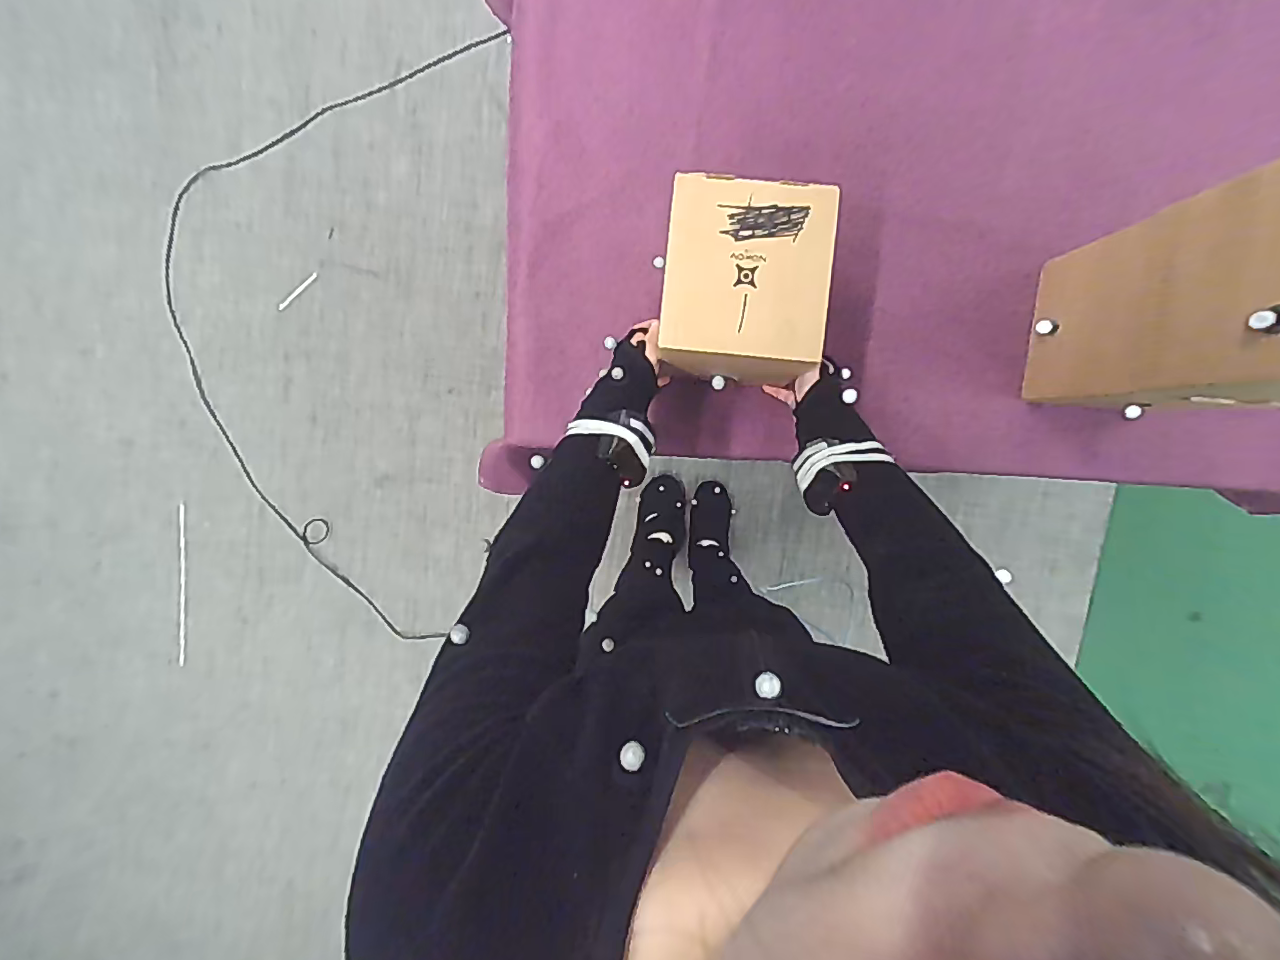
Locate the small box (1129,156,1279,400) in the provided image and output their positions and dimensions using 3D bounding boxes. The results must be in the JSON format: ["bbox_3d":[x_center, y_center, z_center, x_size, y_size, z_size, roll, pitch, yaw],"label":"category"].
[{"bbox_3d":[0.563,-0.160,0.446,0.168,0.176,0.179,5,96,1],"label":"small box"}]

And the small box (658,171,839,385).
[{"bbox_3d":[0.109,-0.214,0.615,0.168,0.176,0.179,6,92,2],"label":"small box"}]

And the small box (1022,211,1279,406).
[{"bbox_3d":[0.574,-0.178,0.610,0.168,0.176,0.179,5,97,1],"label":"small box"}]
